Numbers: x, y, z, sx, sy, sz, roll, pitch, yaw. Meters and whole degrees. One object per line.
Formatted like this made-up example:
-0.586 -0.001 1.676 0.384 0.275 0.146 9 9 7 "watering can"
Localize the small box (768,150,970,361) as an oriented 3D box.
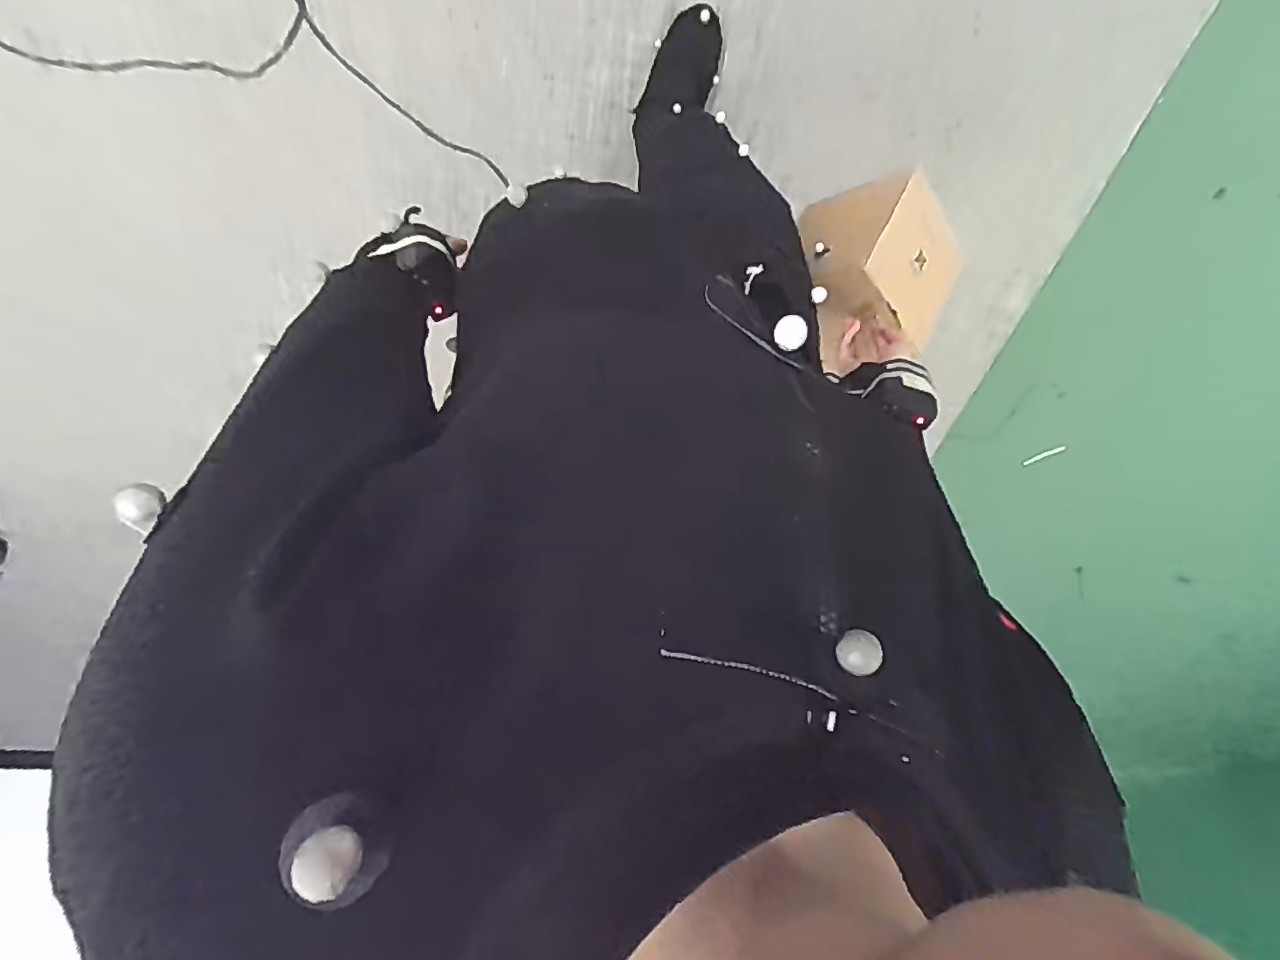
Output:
0.296 -0.277 0.715 0.168 0.179 0.176 38 162 -32 "small box"
